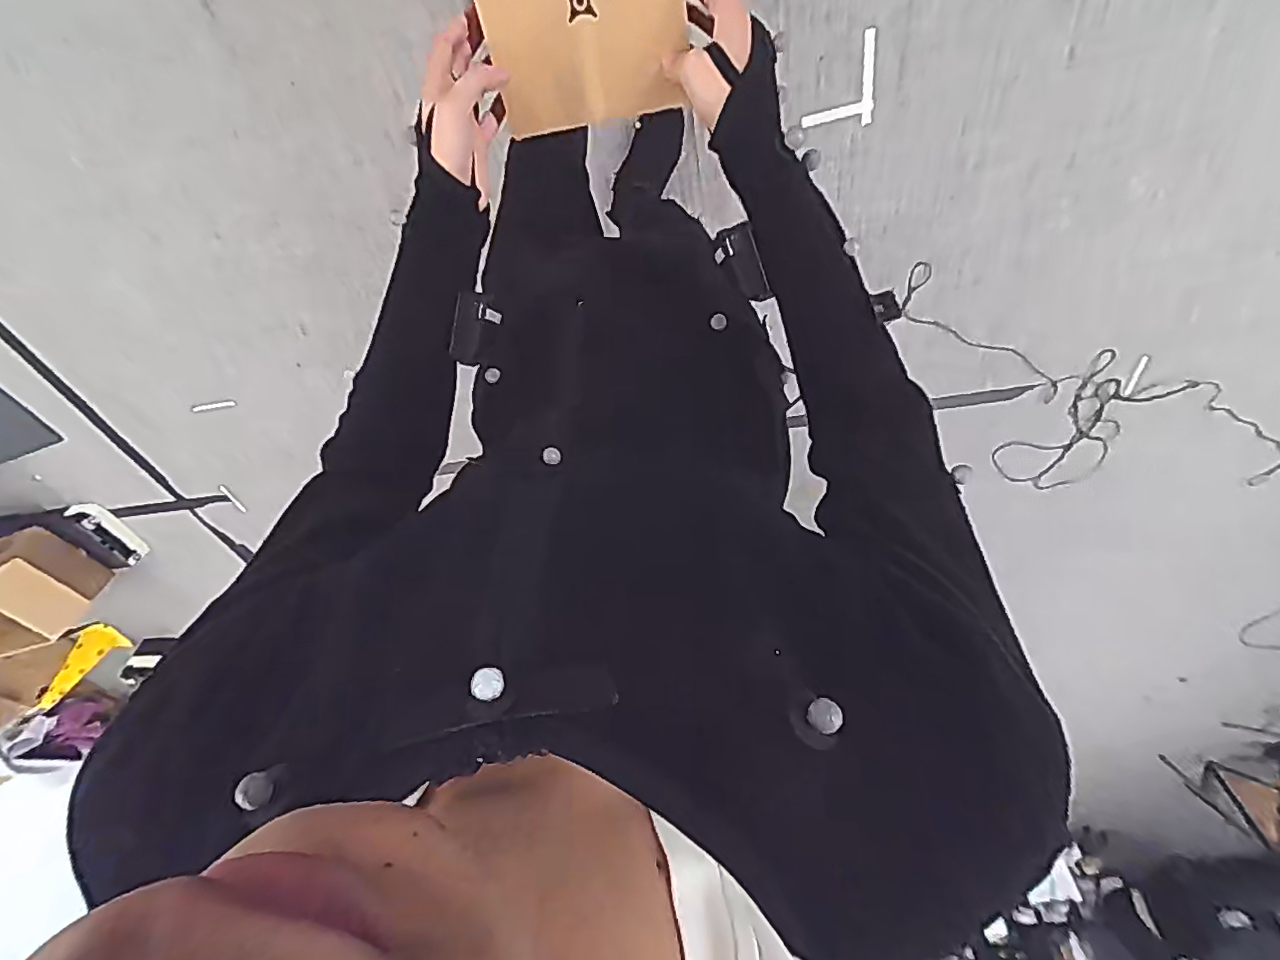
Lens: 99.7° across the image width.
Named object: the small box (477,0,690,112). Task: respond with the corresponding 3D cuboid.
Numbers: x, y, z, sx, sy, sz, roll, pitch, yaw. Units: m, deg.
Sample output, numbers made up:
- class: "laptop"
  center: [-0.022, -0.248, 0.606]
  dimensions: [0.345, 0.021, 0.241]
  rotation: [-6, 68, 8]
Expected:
- class: "small box"
  center: [-0.049, -0.449, 0.460]
  dimensions: [0.168, 0.176, 0.179]
  rotation: [-7, 135, 6]
